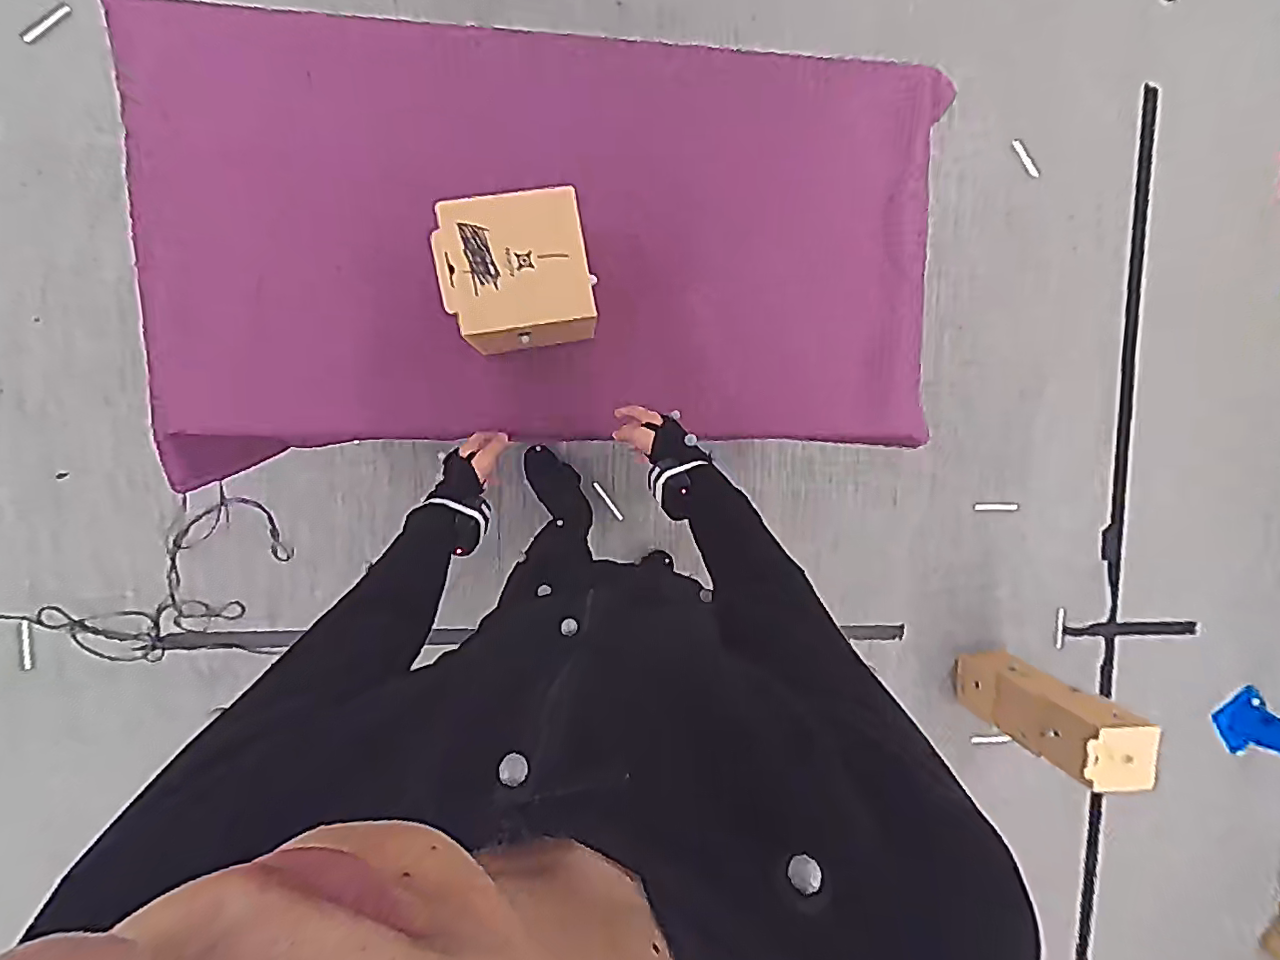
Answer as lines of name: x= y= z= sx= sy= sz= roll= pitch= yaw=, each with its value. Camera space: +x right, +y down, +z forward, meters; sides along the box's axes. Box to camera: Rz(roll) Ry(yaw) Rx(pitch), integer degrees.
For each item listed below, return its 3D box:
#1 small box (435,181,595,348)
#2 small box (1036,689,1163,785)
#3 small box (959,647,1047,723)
small box: x=-0.163 y=-0.288 z=0.757 sx=0.179 sy=0.176 sz=0.168 roll=-11 pitch=97 yaw=-6
small box: x=1.184 y=0.658 z=1.402 sx=0.179 sy=0.176 sz=0.168 roll=2 pitch=96 yaw=-6
small box: x=1.155 y=0.651 z=1.732 sx=0.179 sy=0.176 sz=0.168 roll=-3 pitch=96 yaw=-6
